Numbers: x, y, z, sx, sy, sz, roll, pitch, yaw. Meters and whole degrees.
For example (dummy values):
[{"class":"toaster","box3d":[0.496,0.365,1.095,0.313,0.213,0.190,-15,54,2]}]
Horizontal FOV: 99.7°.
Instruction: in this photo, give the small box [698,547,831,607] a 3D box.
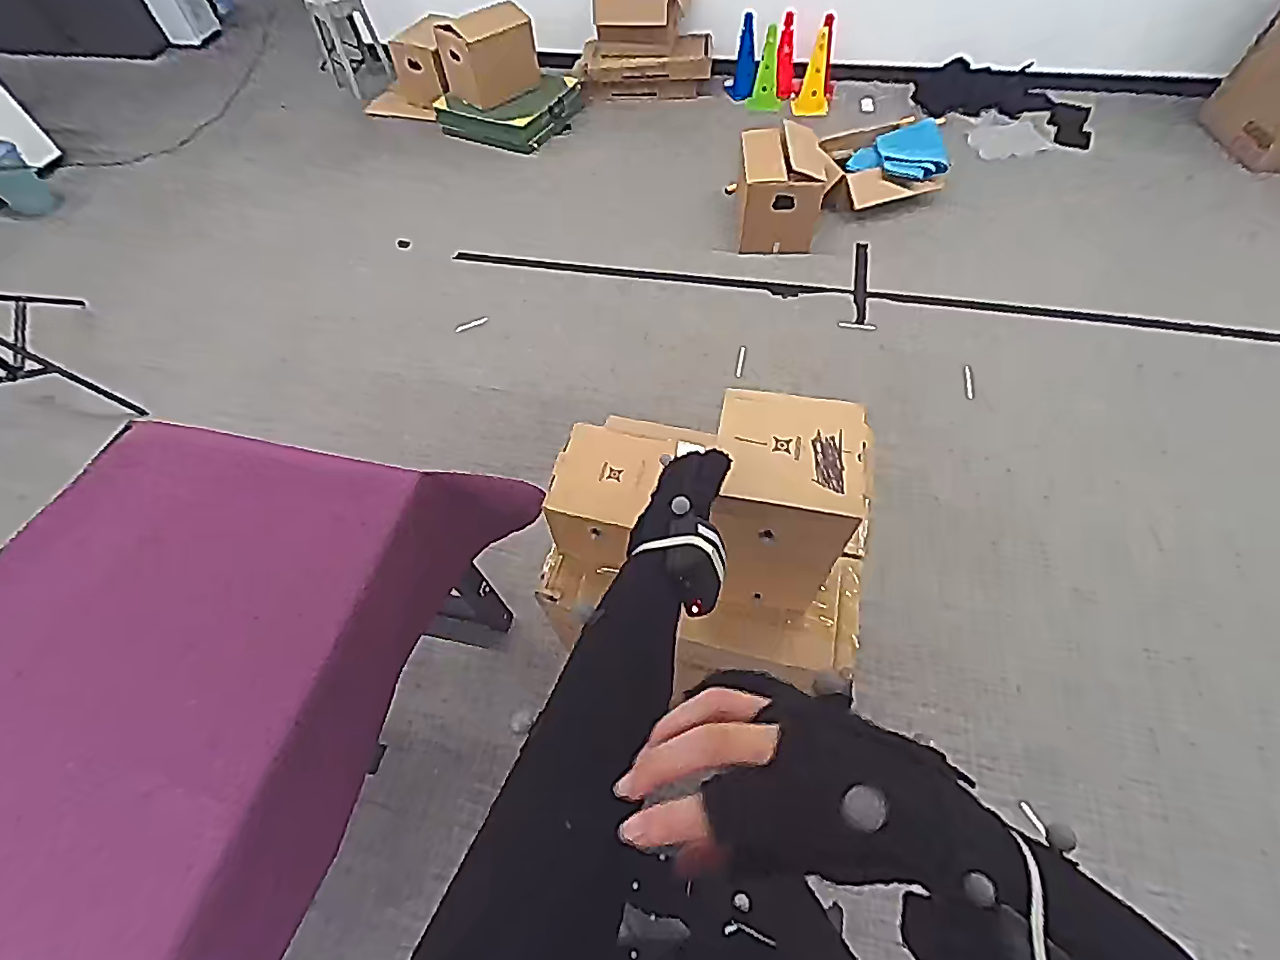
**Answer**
[{"class":"small box","box3d":[0.190,0.091,0.855,0.179,0.176,0.168,5,58,6]}]

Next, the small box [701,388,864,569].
[{"class":"small box","box3d":[0.181,0.004,0.715,0.179,0.176,0.168,9,58,10]}]
